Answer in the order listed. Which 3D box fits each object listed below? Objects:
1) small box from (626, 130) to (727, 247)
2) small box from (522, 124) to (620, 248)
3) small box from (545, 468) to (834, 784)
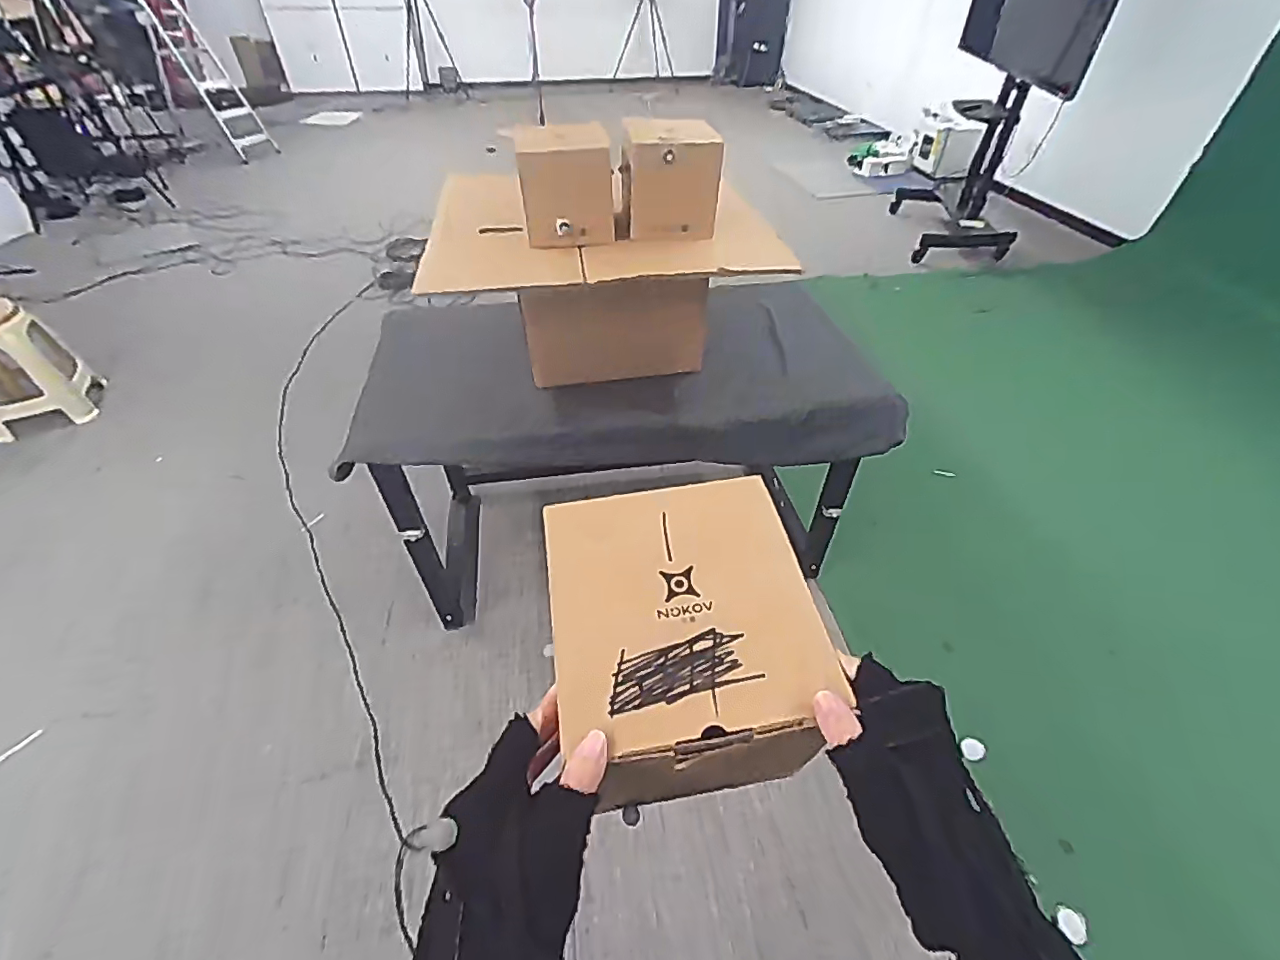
[{"bbox_3d":[0.062,-0.579,1.074,0.168,0.176,0.179,-4,44,-7],"label":"small box"},{"bbox_3d":[-0.131,-0.567,1.043,0.168,0.176,0.179,-7,46,-5],"label":"small box"},{"bbox_3d":[0.024,0.118,0.418,0.168,0.176,0.179,-8,50,-5],"label":"small box"}]
